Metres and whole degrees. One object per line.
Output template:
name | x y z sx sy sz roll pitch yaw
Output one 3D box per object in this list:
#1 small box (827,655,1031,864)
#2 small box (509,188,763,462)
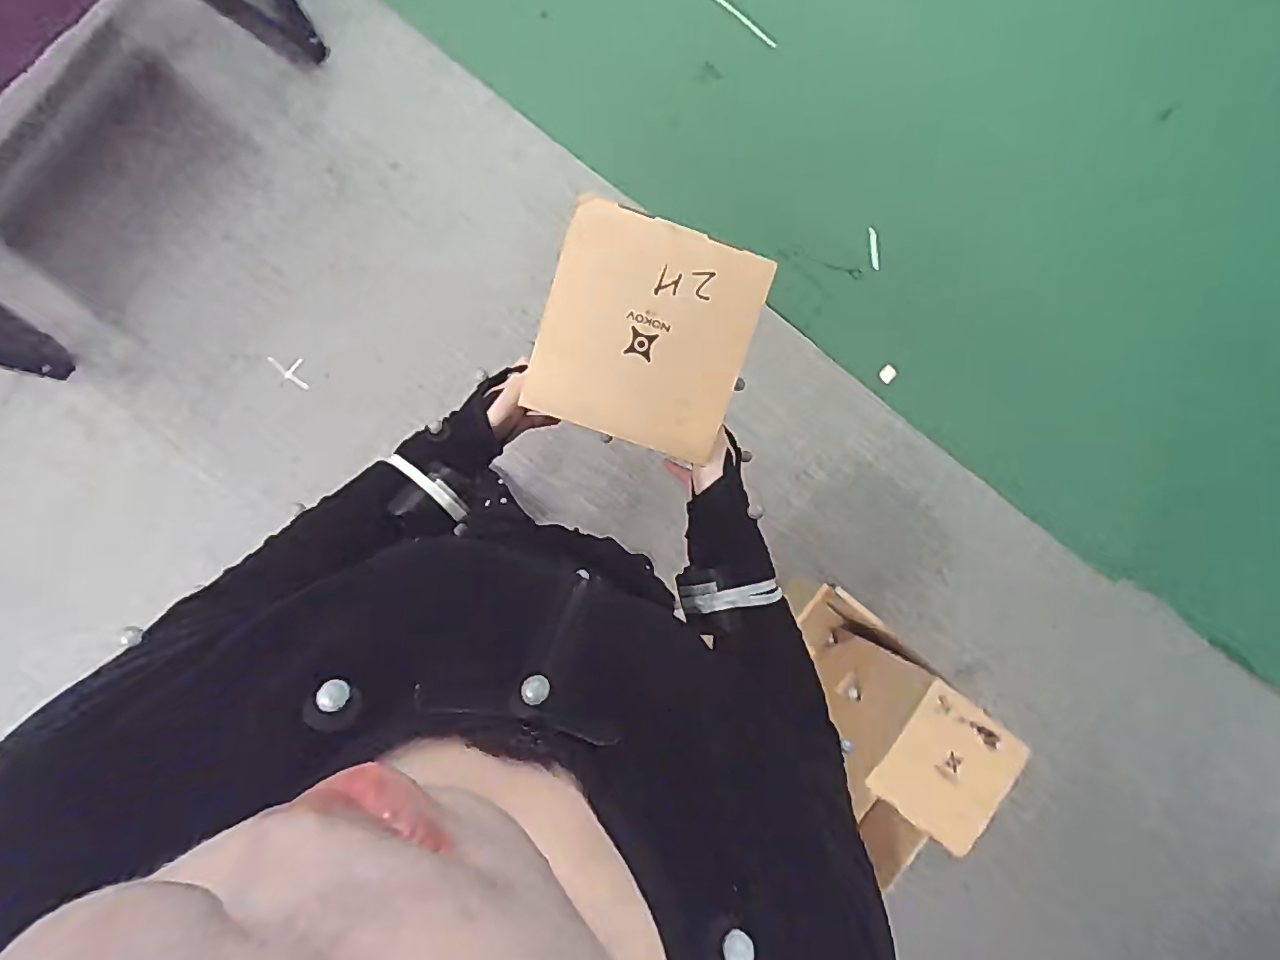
small box | 0.402 0.391 0.791 0.168 0.176 0.179 39 86 0
small box | -0.005 -0.133 0.513 0.168 0.176 0.179 18 98 -4
